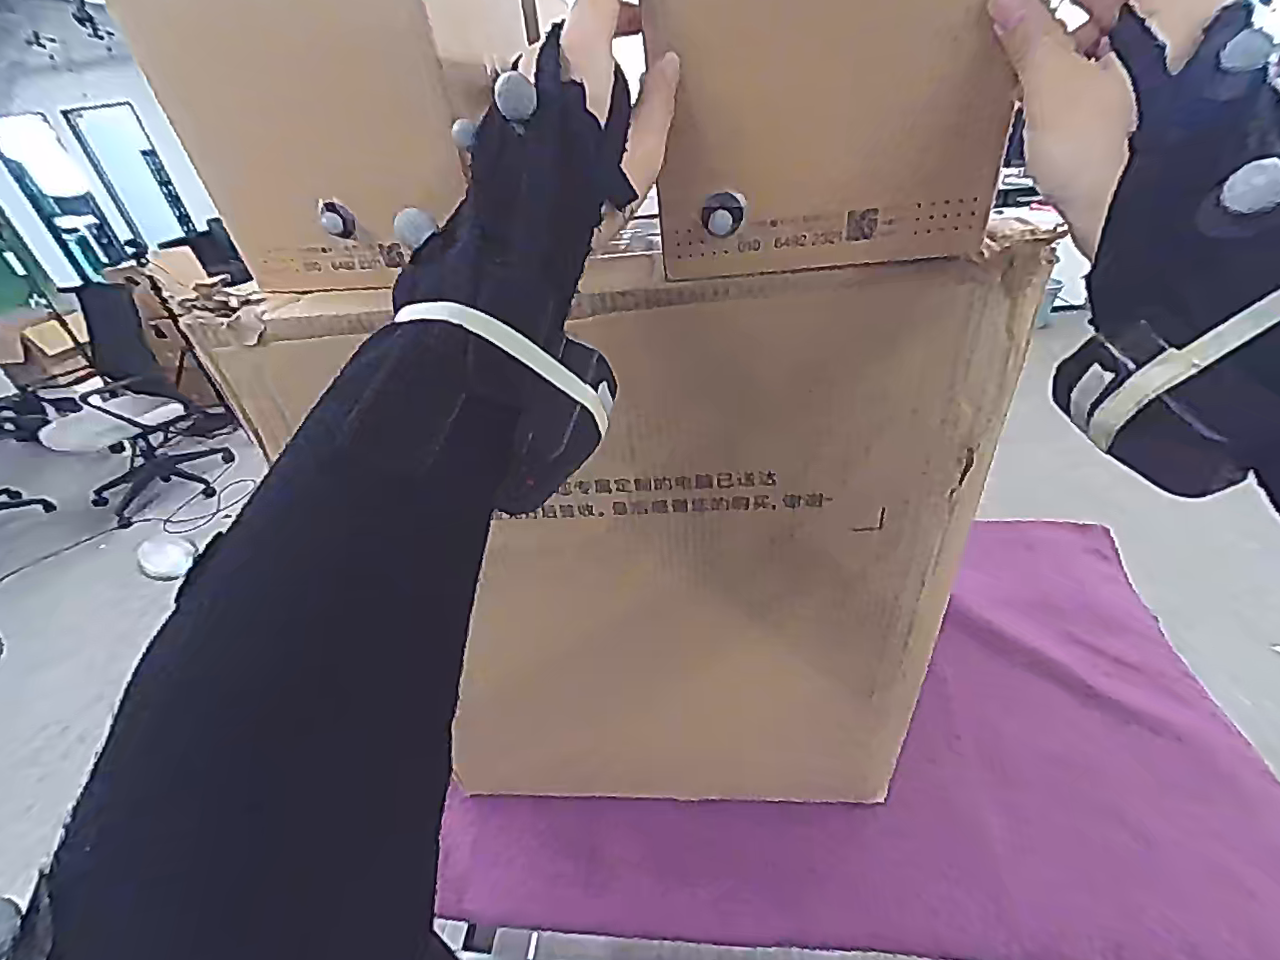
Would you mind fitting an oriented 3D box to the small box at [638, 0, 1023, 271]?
[{"bbox_3d":[0.096,-0.227,0.312,0.168,0.176,0.179,-2,35,10],"label":"small box"}]
